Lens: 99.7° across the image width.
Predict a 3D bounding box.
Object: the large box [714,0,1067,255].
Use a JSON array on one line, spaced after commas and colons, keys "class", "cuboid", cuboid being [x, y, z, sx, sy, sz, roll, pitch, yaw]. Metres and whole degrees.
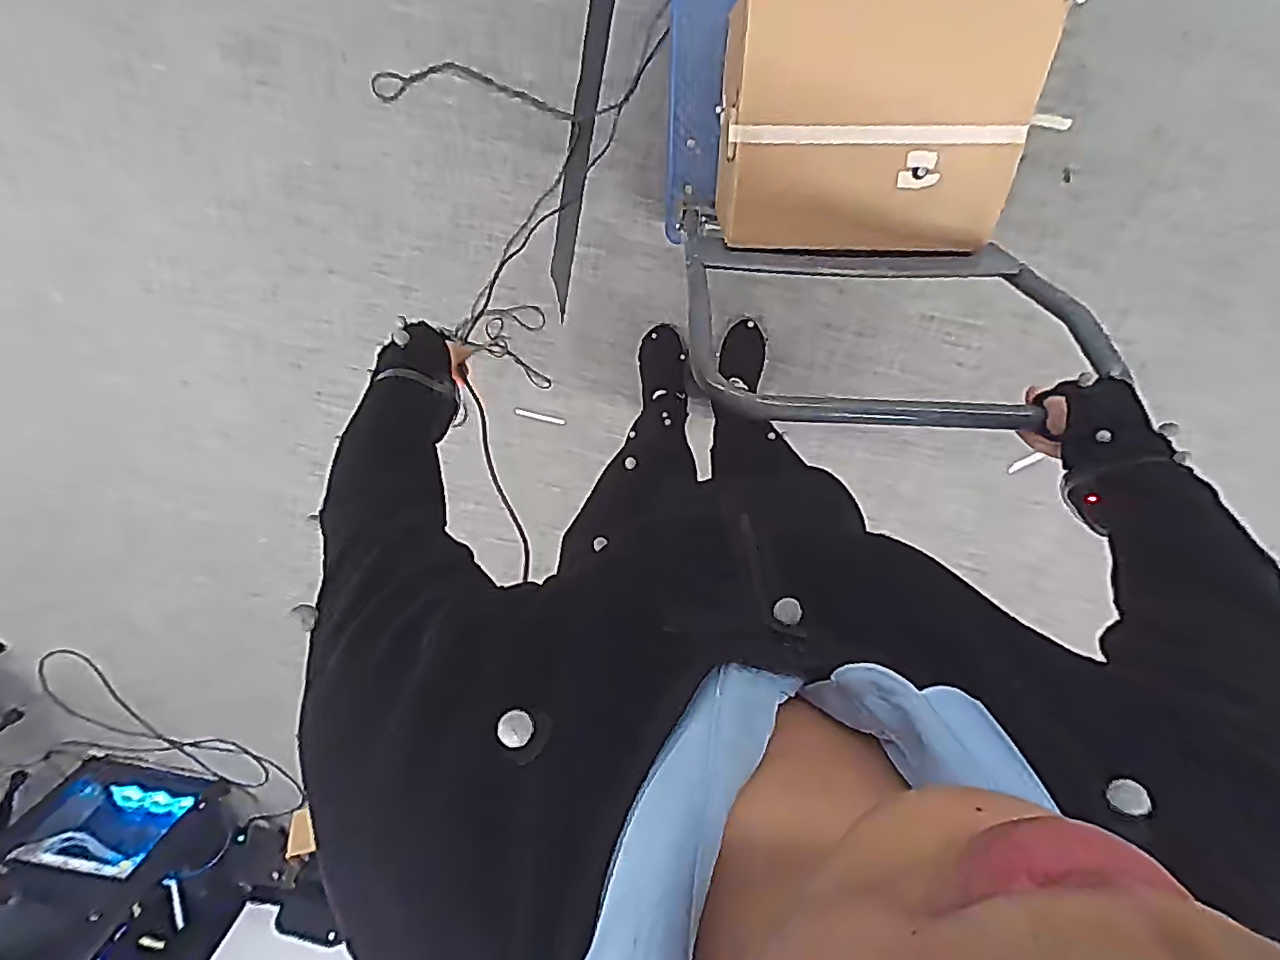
[{"class": "large box", "cuboid": [0.339, -0.566, 0.883, 0.408, 0.320, 0.320, 1, 127, 1]}]
